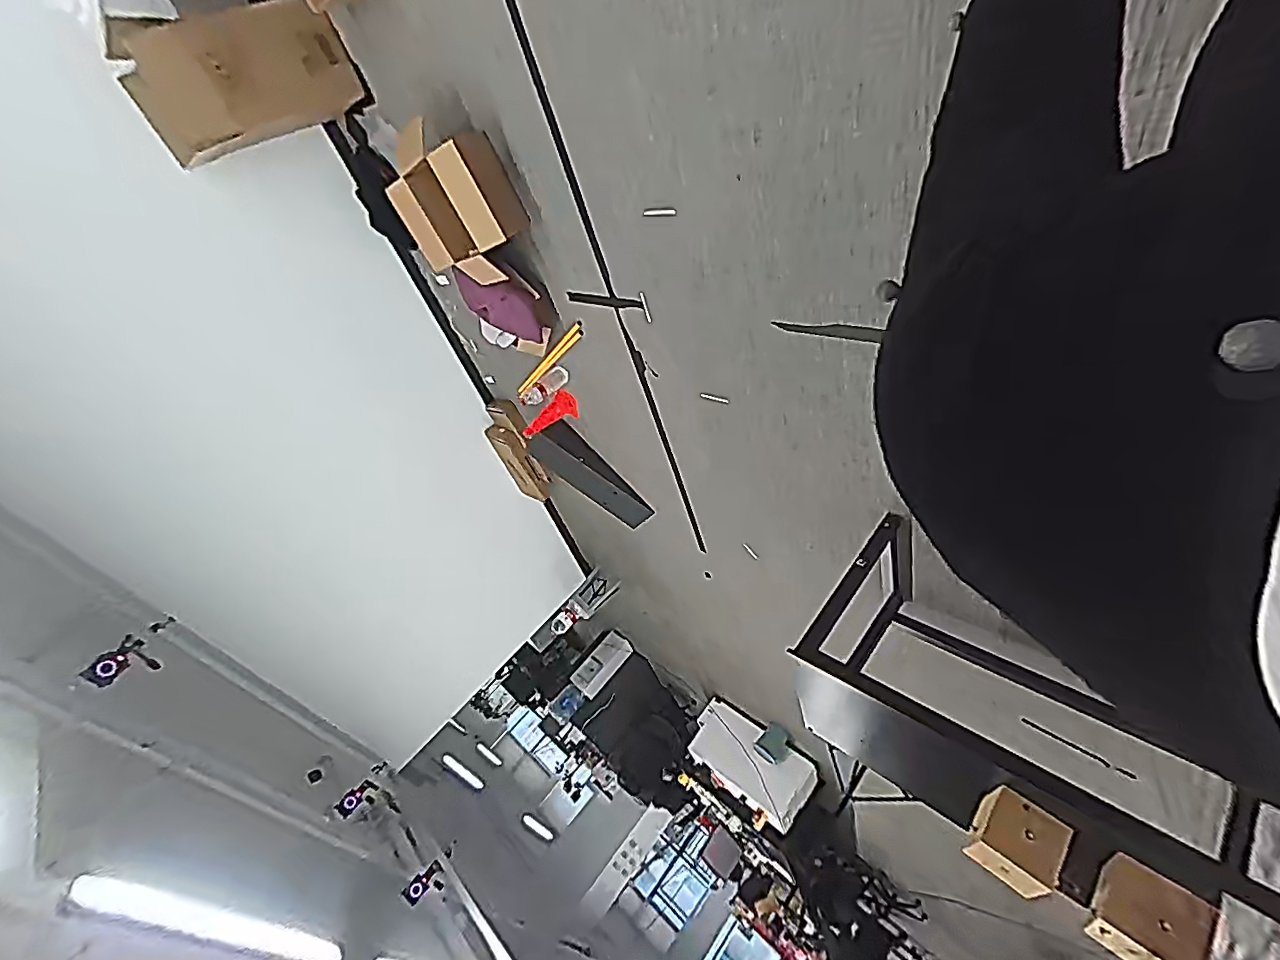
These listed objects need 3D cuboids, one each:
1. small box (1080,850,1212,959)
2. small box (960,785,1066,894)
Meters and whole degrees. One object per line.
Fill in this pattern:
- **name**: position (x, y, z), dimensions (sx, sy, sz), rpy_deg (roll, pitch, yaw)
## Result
- **small box**: position (1.167, 1.009, 1.250), dimensions (0.179, 0.176, 0.168), rpy_deg (22, 147, 40)
- **small box**: position (0.987, 0.946, 1.432), dimensions (0.168, 0.176, 0.179), rpy_deg (30, 151, 32)
